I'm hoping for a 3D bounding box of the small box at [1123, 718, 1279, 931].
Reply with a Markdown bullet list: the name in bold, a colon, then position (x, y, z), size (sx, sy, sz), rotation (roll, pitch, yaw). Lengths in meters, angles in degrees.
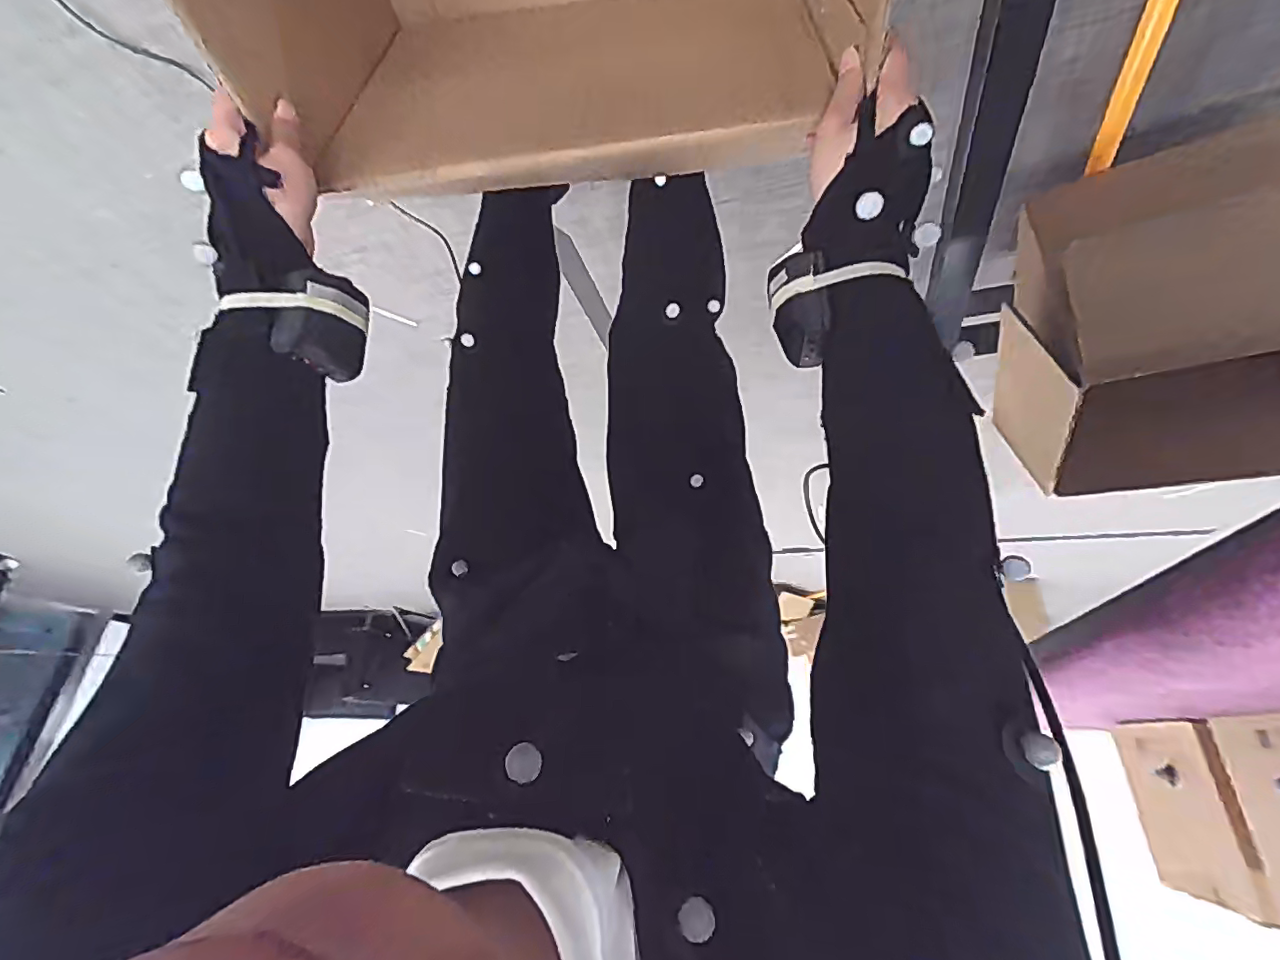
- **small box**: position (0.645, 0.331, 0.536), size (0.179, 0.176, 0.168), rotation (-4, 153, 15)
